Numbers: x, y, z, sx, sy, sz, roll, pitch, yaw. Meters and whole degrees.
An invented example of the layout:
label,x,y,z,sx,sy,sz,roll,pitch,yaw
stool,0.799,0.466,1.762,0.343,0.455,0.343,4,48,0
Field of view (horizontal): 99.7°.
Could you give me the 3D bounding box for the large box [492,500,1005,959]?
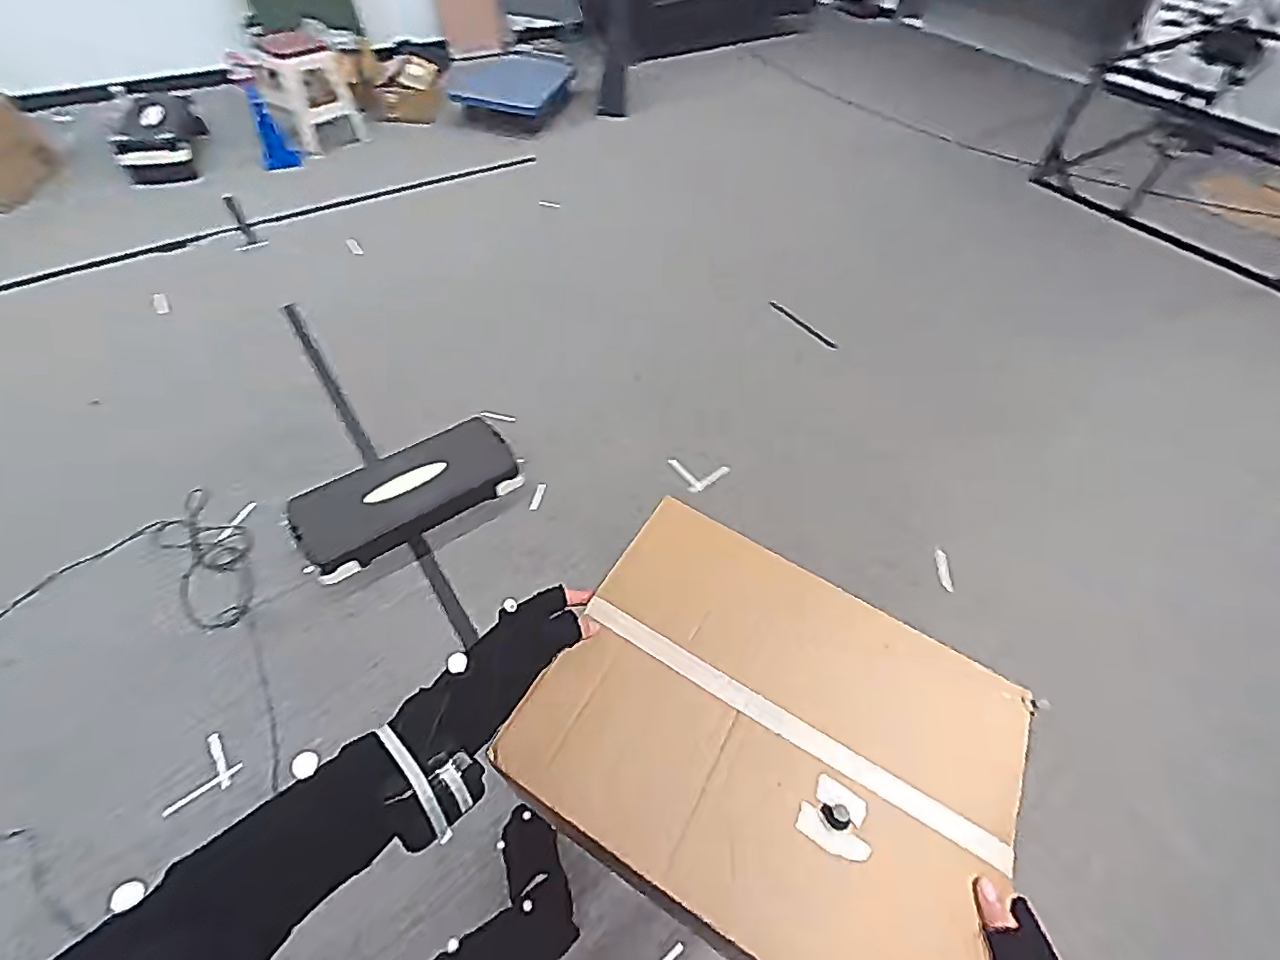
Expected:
label,x,y,z,sx,sy,sz,roll,pitch,yaw
large box,0.101,0.296,0.613,0.408,0.320,0.320,28,56,13
